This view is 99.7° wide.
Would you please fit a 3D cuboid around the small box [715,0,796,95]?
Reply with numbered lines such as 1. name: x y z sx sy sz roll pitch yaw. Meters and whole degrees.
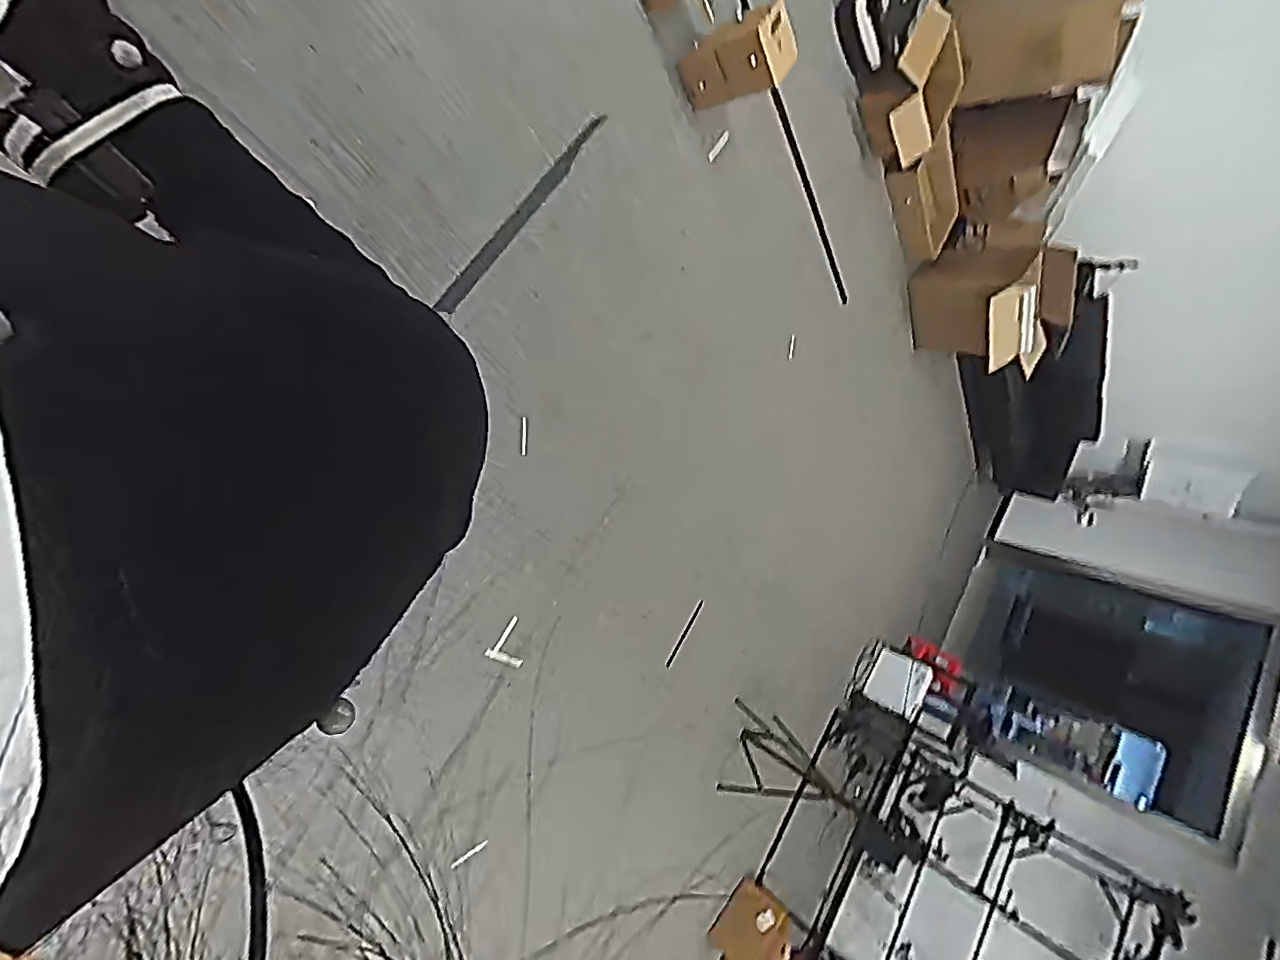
1. small box: 0.368 -1.387 1.740 0.168 0.176 0.179 -58 136 -14

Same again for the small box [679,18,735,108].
1. small box: 0.256 -1.422 1.857 0.179 0.176 0.168 -56 135 -14
